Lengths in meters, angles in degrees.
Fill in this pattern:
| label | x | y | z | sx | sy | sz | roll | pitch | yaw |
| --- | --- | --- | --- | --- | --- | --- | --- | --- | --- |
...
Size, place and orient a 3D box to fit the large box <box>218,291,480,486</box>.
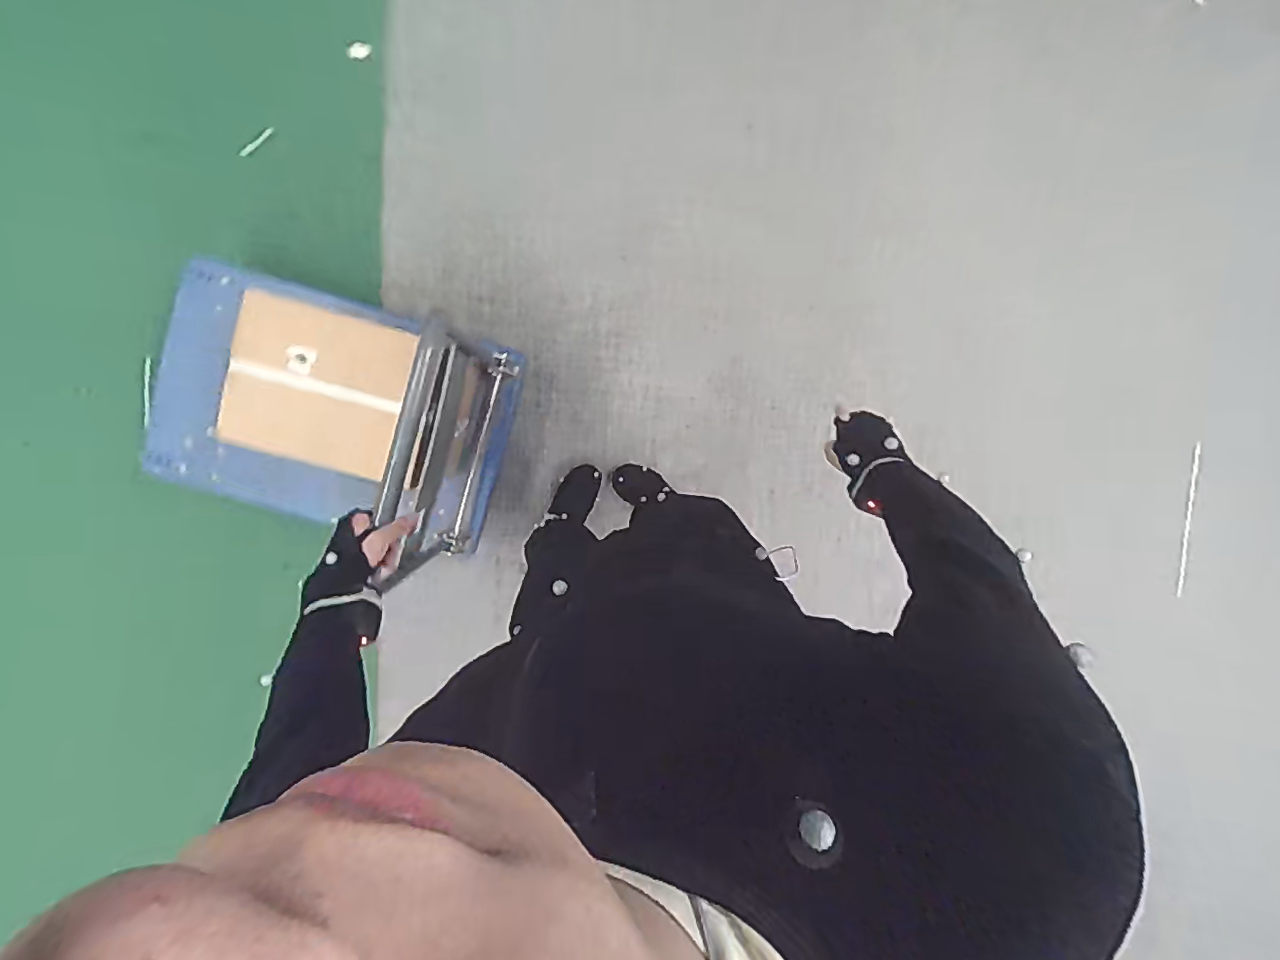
| label | x | y | z | sx | sy | sz | roll | pitch | yaw |
| --- | --- | --- | --- | --- | --- | --- | --- | --- | --- |
| large box | -0.628 | -0.195 | 1.238 | 0.408 | 0.320 | 0.320 | 15 | 94 | -3 |
